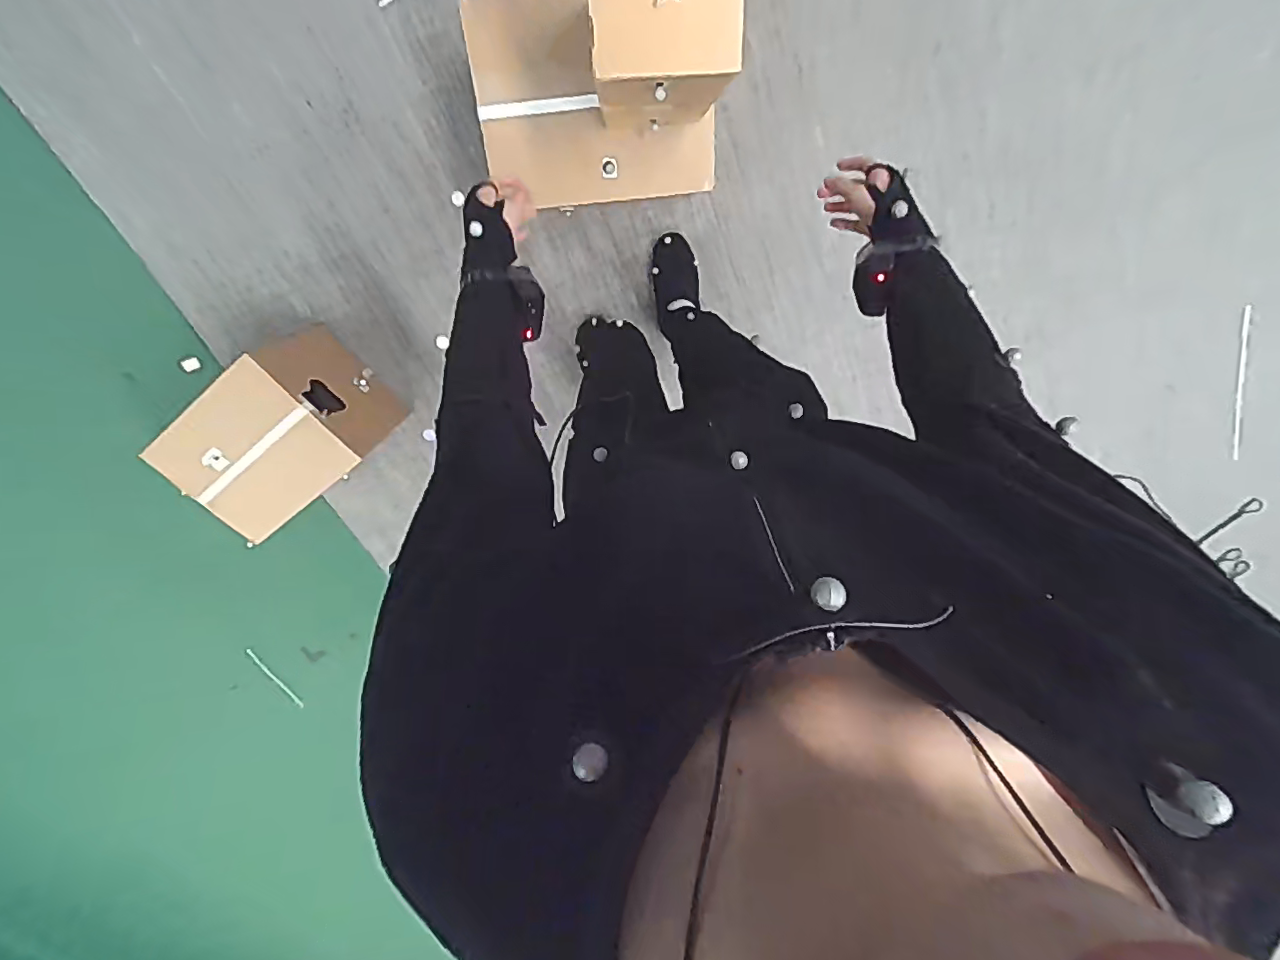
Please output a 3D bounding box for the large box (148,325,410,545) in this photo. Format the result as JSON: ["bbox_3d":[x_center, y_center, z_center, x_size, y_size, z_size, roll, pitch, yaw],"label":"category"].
[{"bbox_3d":[-0.871,-0.120,1.357,0.408,0.320,0.320,-33,112,17],"label":"large box"}]

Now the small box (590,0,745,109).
[{"bbox_3d":[0.030,-0.576,0.673,0.179,0.176,0.168,-2,115,1],"label":"small box"}]

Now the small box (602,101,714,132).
[{"bbox_3d":[0.021,-0.647,0.819,0.168,0.176,0.179,-3,116,2],"label":"small box"}]
